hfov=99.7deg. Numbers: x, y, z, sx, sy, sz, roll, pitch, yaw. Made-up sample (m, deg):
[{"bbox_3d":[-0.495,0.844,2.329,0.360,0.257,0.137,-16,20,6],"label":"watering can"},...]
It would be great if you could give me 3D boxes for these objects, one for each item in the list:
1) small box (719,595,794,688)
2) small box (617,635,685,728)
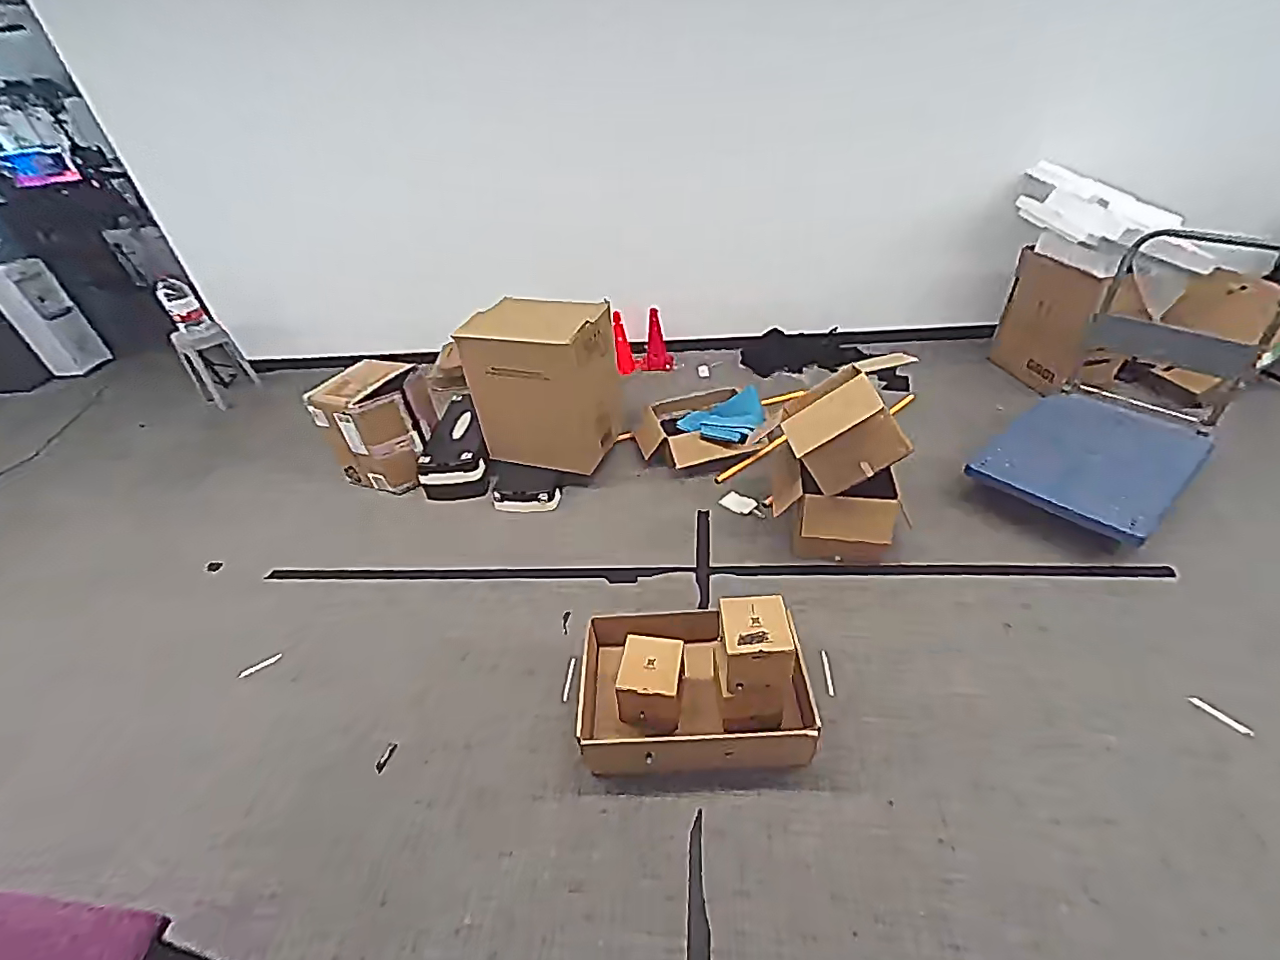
[{"bbox_3d":[0.299,0.425,1.410,0.168,0.176,0.179,-4,37,3],"label":"small box"},{"bbox_3d":[0.036,0.570,1.534,0.168,0.176,0.179,3,38,10],"label":"small box"}]
